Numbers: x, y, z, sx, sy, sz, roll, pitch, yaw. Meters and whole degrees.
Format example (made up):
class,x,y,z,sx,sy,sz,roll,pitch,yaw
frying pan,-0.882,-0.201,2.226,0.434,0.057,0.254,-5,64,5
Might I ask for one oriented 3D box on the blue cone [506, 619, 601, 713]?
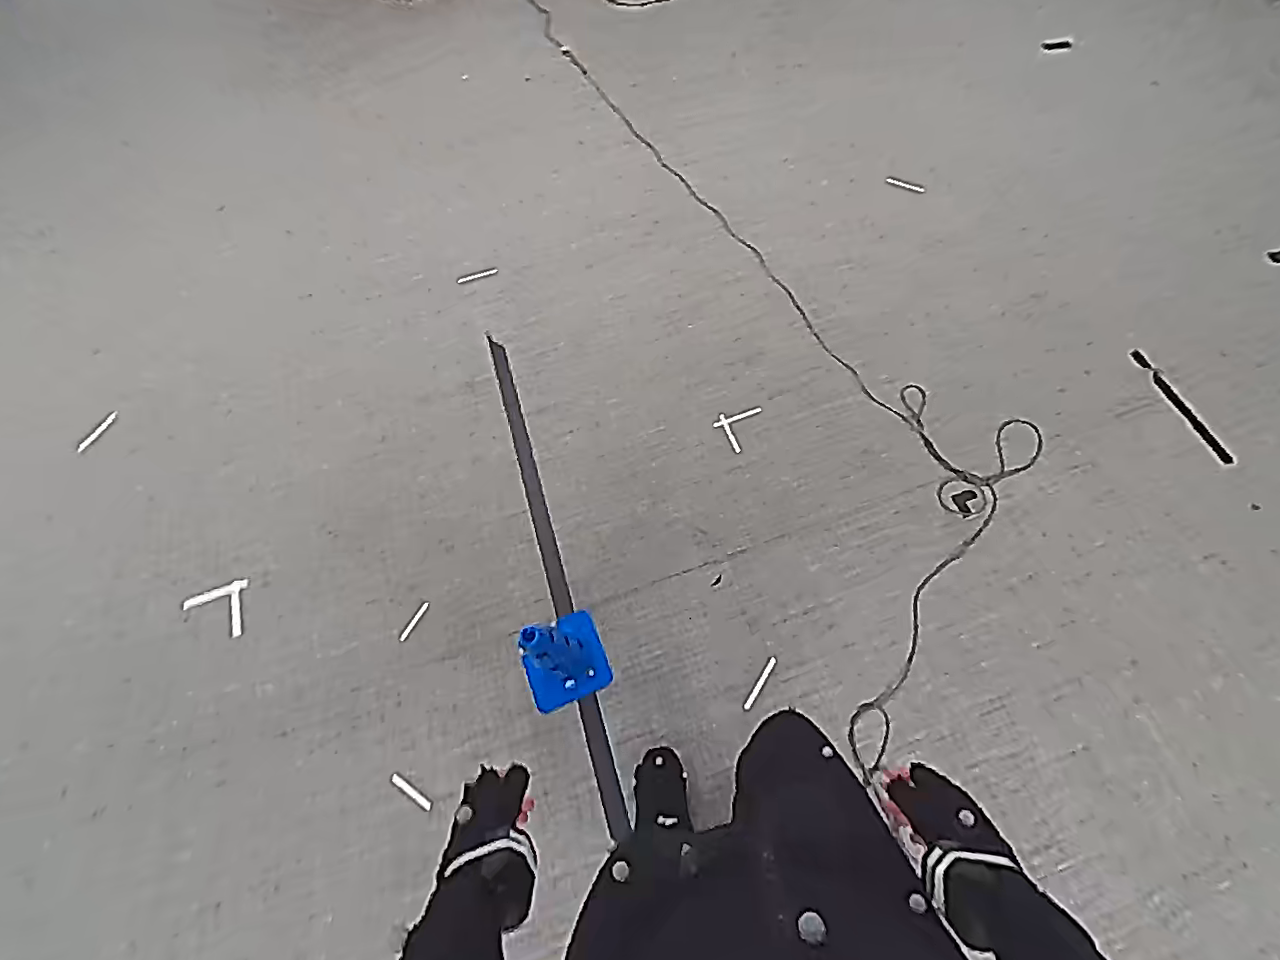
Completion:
class,x,y,z,sx,sy,sz,roll,pitch,yaw
blue cone,-0.218,0.391,1.209,0.192,0.380,0.193,-22,65,-5
